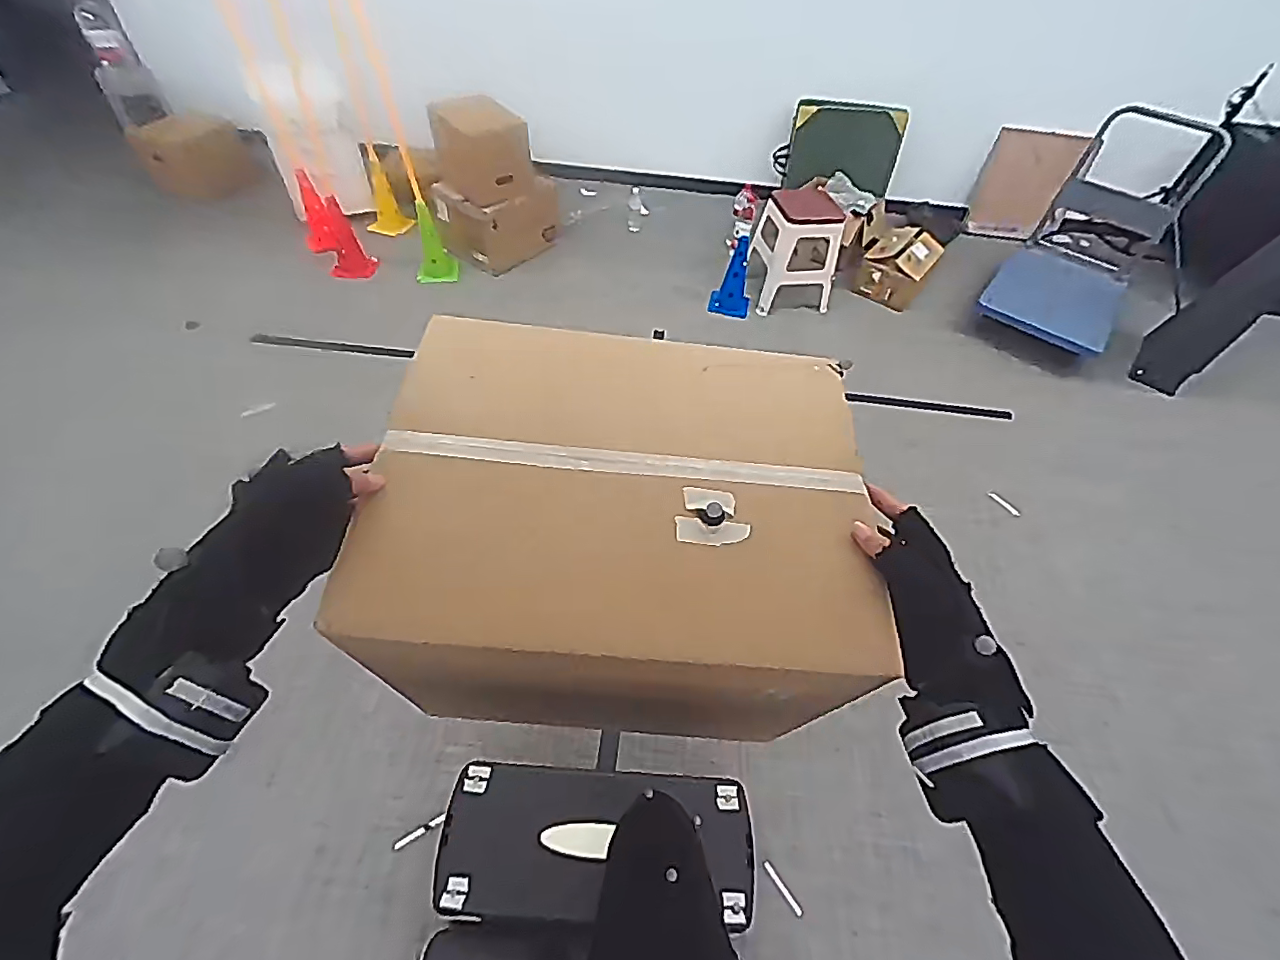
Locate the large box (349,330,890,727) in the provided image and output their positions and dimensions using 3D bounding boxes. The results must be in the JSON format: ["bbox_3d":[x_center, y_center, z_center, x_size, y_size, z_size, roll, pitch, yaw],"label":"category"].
[{"bbox_3d":[-0.020,0.073,0.594,0.408,0.320,0.320,5,57,-4],"label":"large box"}]

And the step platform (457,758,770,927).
[{"bbox_3d":[-0.055,0.818,1.231,0.684,0.204,0.286,5,51,-2],"label":"step platform"}]
